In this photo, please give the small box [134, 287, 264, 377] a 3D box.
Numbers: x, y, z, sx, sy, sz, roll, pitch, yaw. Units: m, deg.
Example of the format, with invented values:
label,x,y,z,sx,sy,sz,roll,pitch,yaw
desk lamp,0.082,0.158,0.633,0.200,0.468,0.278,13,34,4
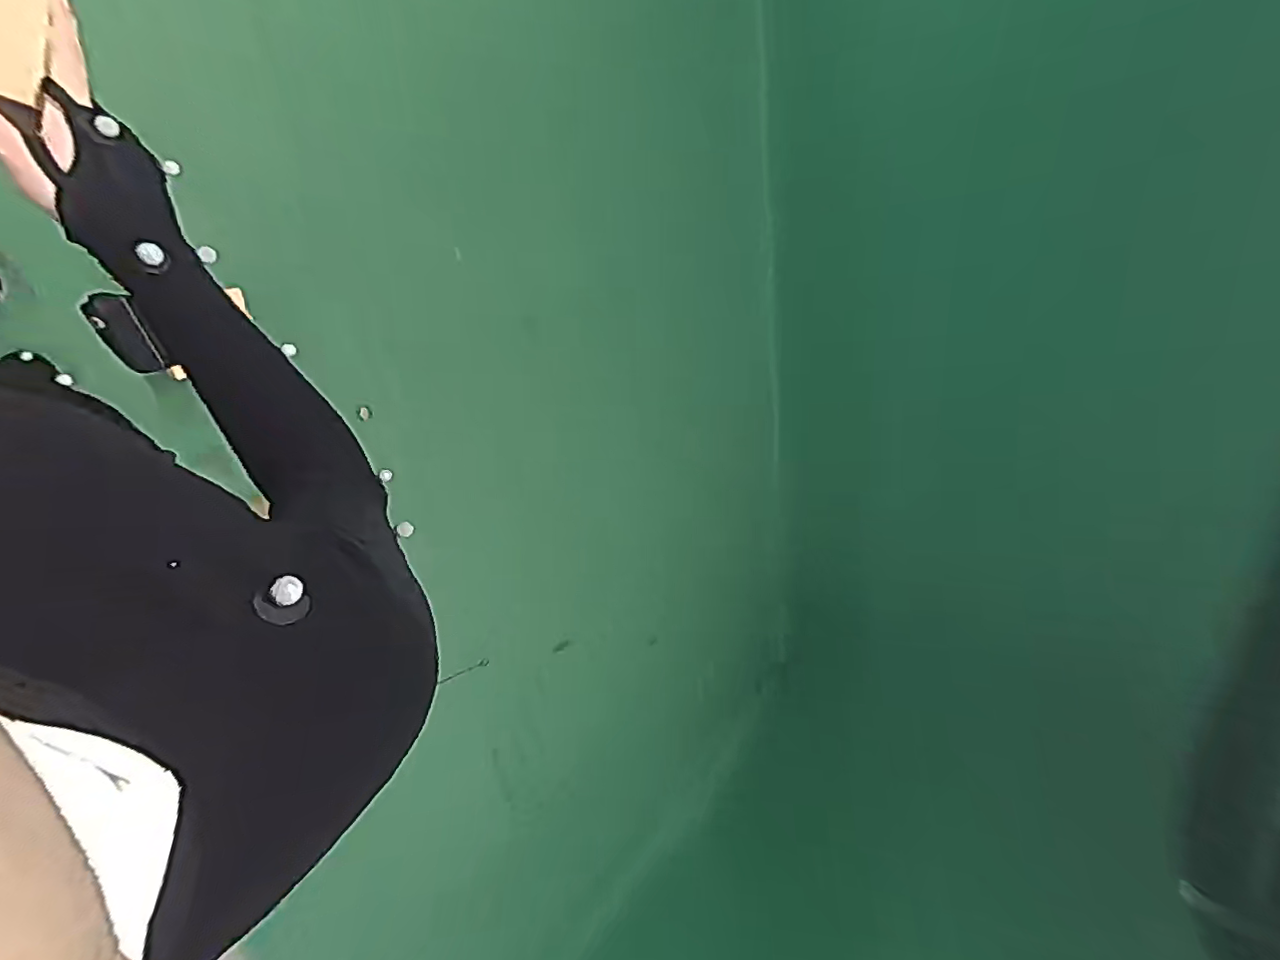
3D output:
label,x,y,z,sx,sy,sz,roll,pitch,yaw
small box,-0.989,-0.331,1.209,0.179,0.176,0.168,-29,120,-41
